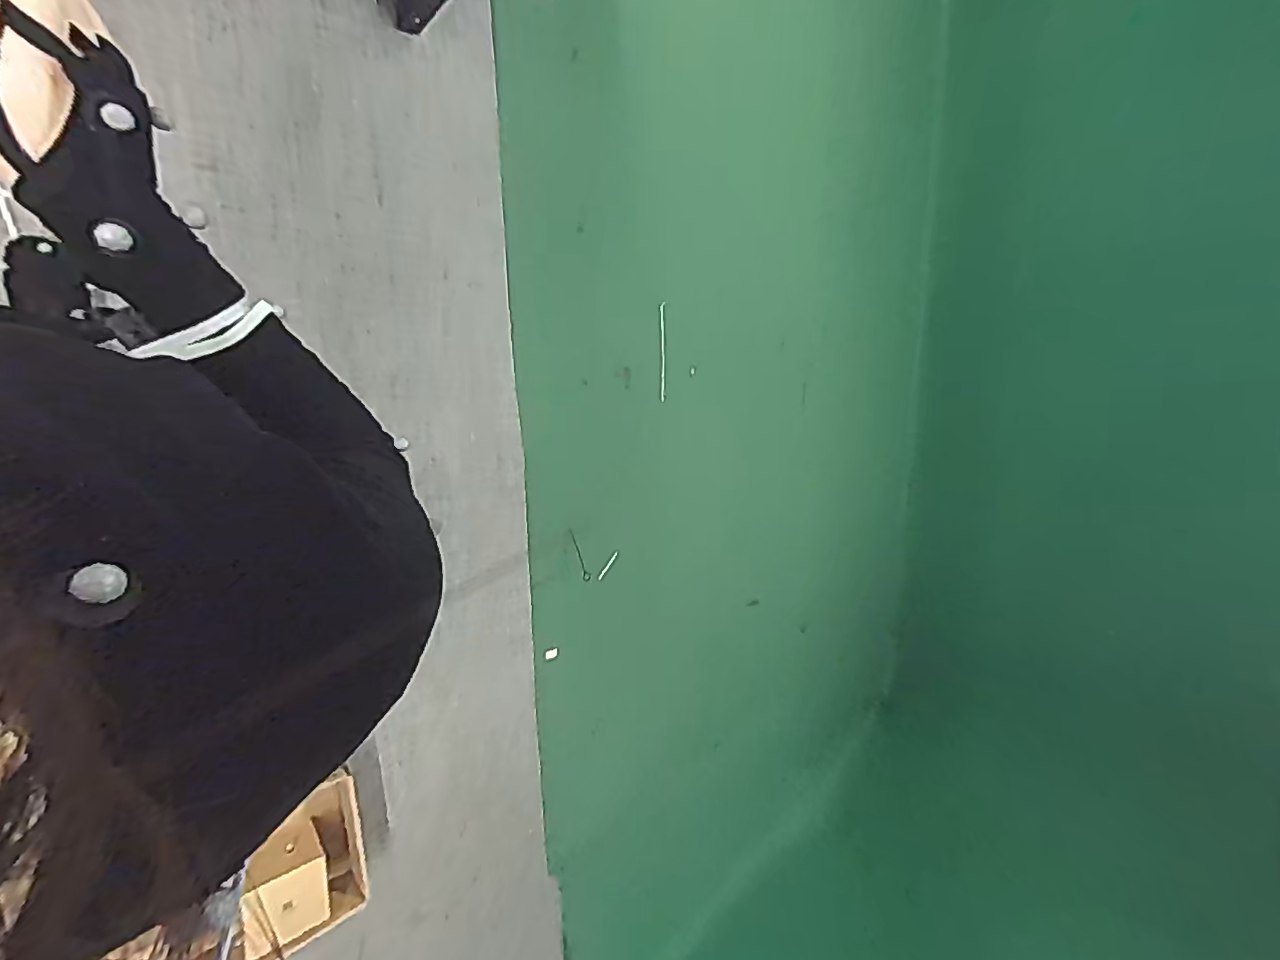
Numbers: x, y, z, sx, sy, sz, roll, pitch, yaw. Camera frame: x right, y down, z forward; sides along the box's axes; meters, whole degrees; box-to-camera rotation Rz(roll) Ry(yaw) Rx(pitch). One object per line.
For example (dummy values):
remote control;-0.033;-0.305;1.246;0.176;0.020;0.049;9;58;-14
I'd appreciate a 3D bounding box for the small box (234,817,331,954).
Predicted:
small box;-0.865;0.960;1.306;0.168;0.176;0.179;-7;103;-42

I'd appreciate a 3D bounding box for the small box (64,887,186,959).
small box;-1.065;1.001;1.123;0.168;0.176;0.179;-12;106;-41
